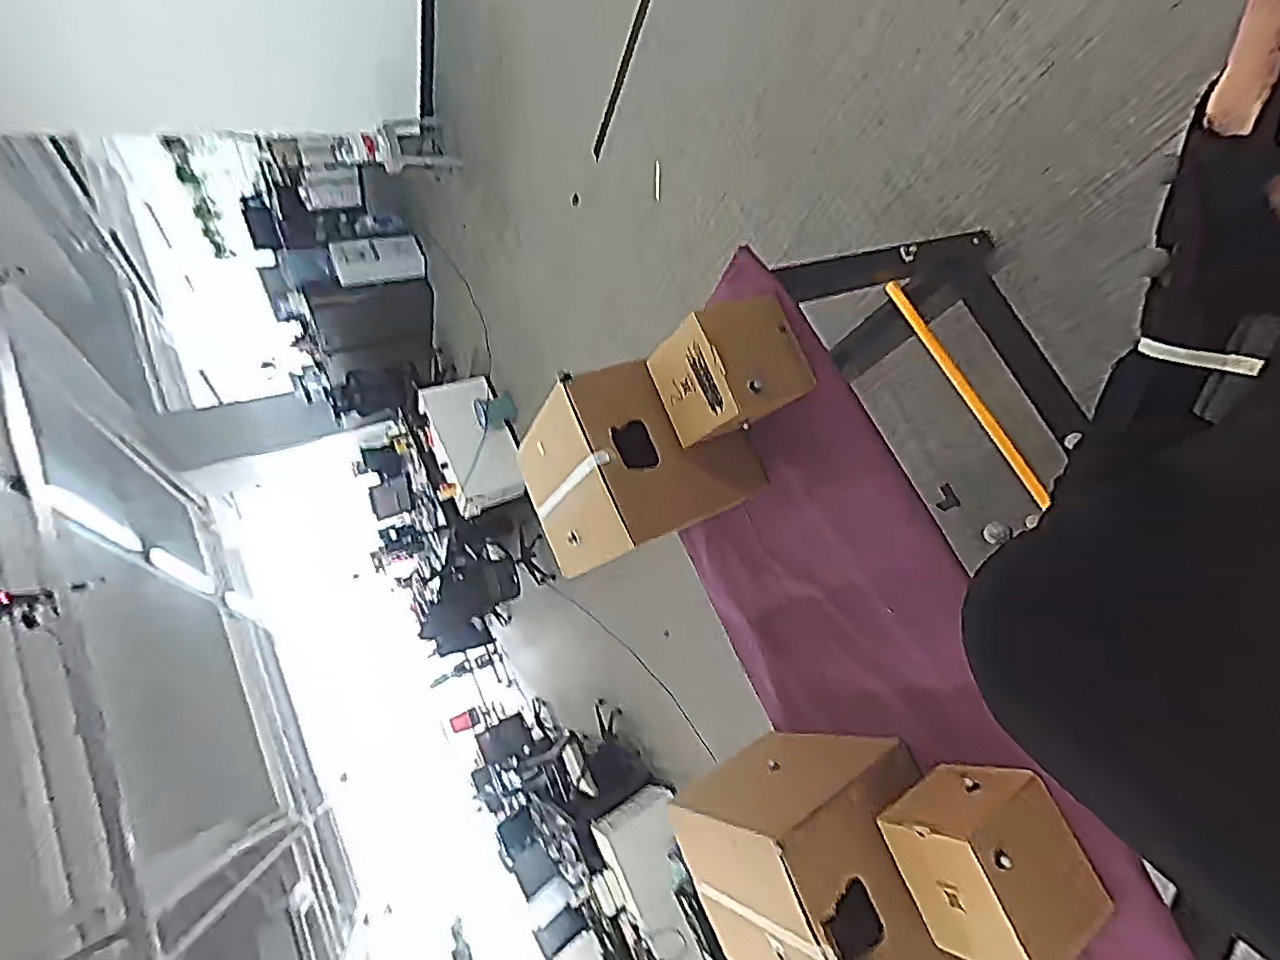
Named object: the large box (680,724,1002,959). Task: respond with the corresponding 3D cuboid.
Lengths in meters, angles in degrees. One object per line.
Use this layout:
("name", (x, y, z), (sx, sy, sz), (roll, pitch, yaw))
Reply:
("large box", (0.340, 0.676, 1.008), (0.320, 0.320, 0.408), (64, 150, 12))
